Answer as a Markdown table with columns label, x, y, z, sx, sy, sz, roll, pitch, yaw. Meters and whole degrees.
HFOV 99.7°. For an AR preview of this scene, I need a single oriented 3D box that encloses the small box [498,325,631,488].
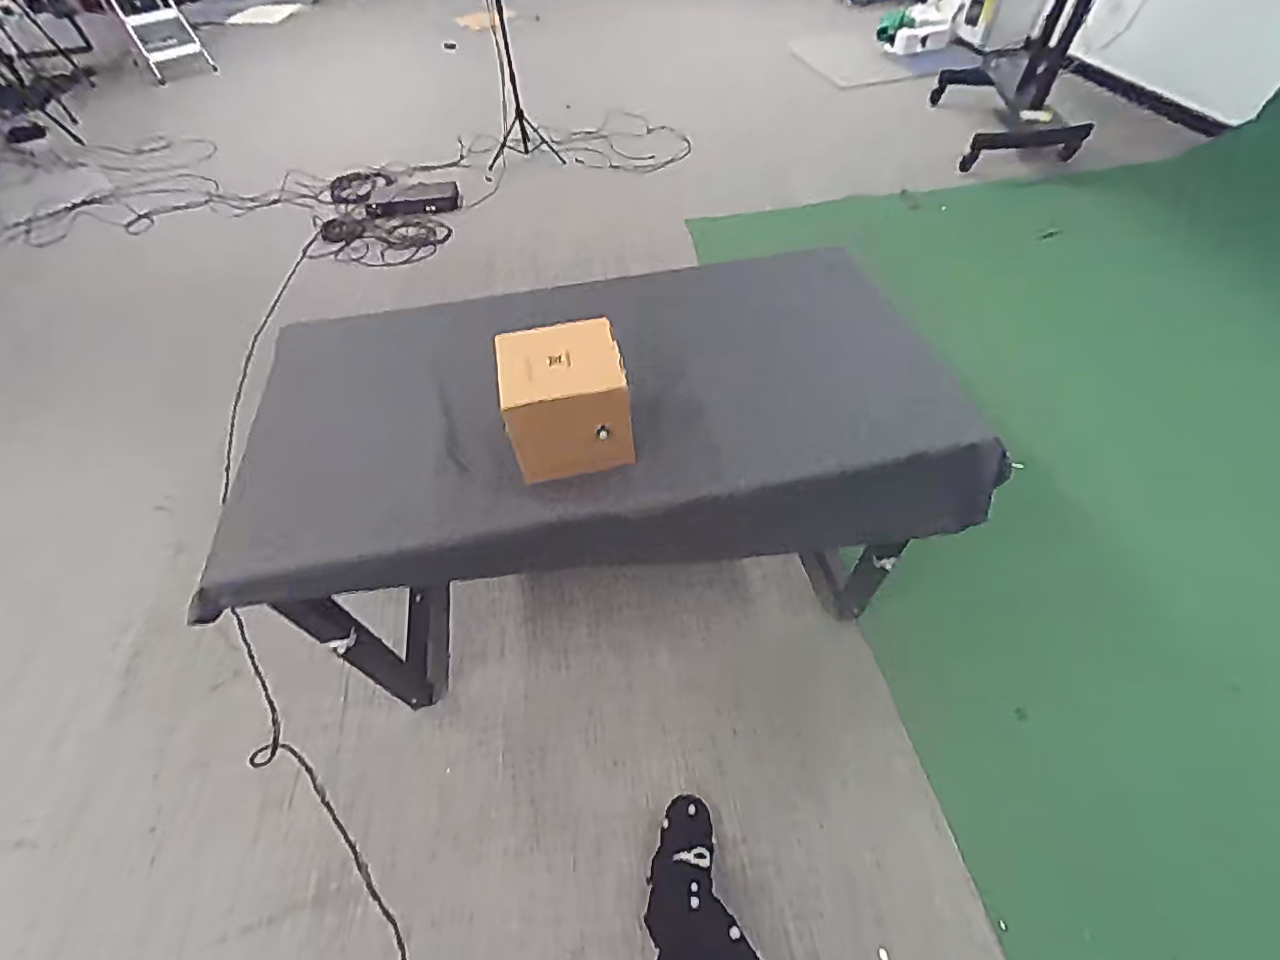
| label | x | y | z | sx | sy | sz | roll | pitch | yaw |
| --- | --- | --- | --- | --- | --- | --- | --- | --- | --- |
| small box | -0.112 | -0.111 | 0.843 | 0.179 | 0.176 | 0.168 | -12 | 51 | -5 |
